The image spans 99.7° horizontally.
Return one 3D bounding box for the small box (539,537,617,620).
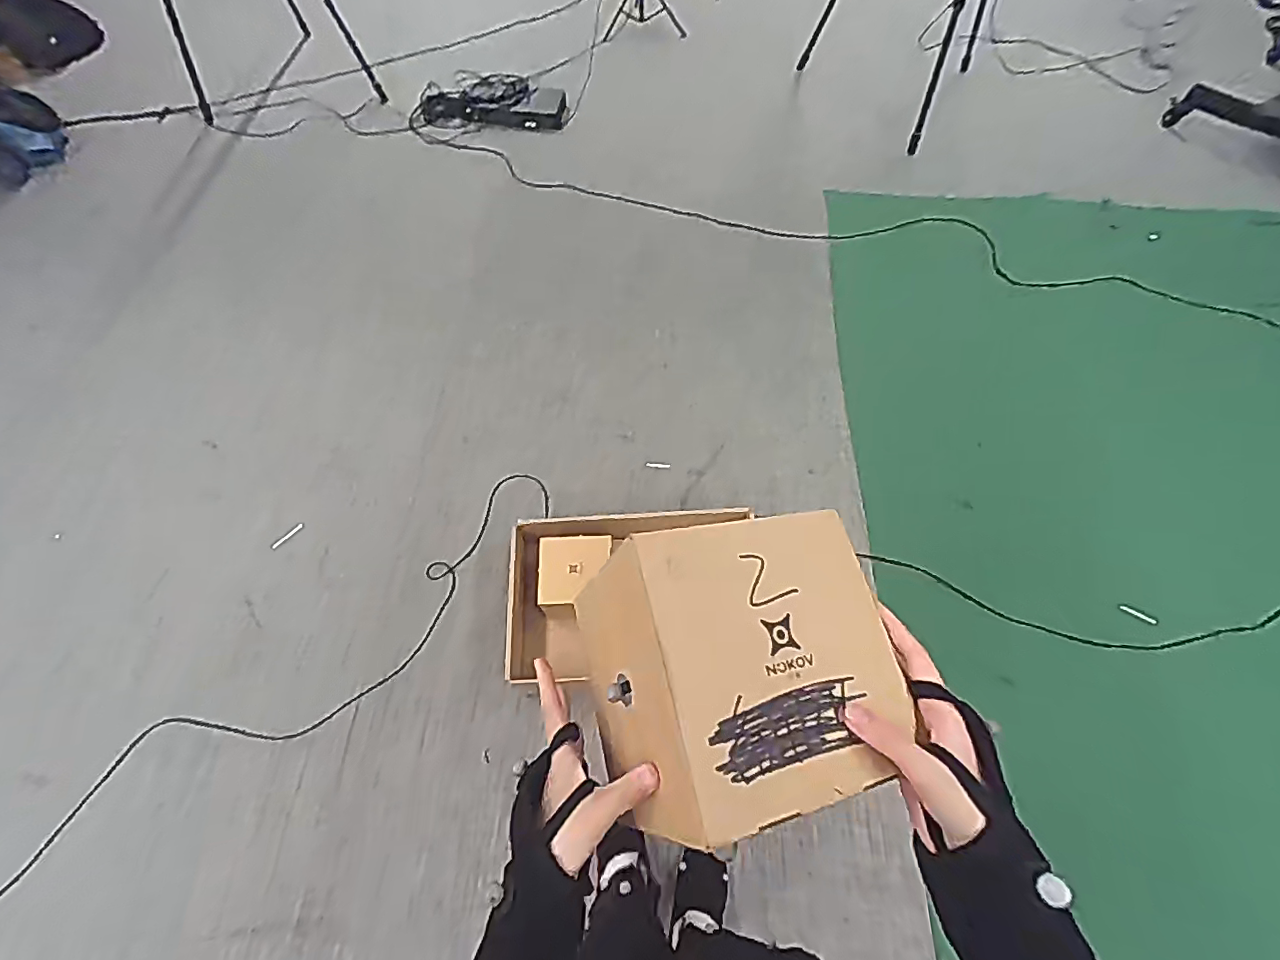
[{"bbox_3d":[-0.150,0.251,1.357,0.179,0.176,0.168,-2,64,-2],"label":"small box"}]
